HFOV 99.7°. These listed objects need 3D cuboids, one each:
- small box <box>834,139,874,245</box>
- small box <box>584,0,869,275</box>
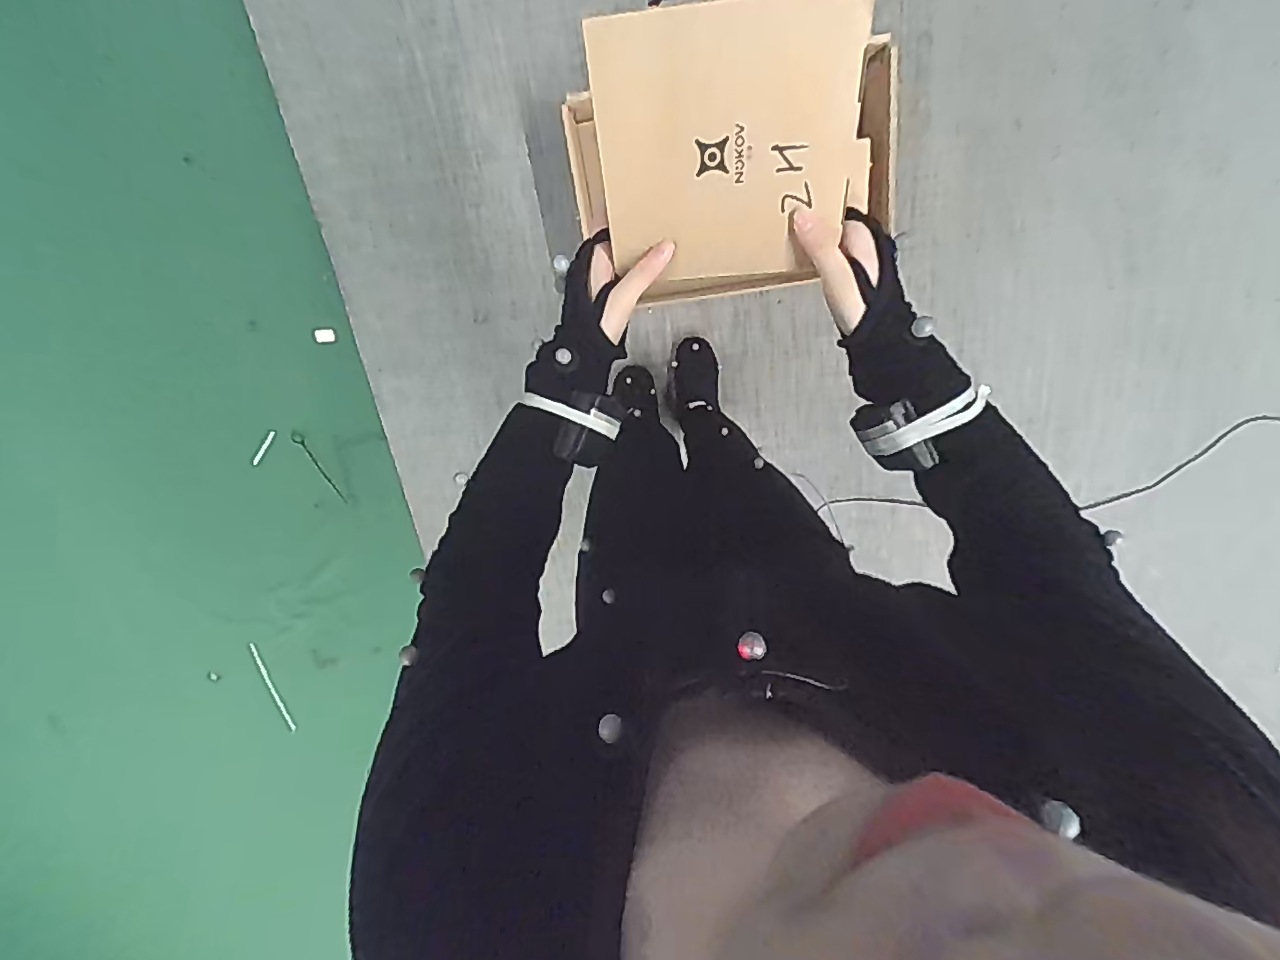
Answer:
[{"bbox_3d":[0.360,-0.573,1.103,0.168,0.176,0.179,-5,112,4],"label":"small box"},{"bbox_3d":[0.063,-0.282,0.439,0.179,0.176,0.168,-2,132,7],"label":"small box"}]
